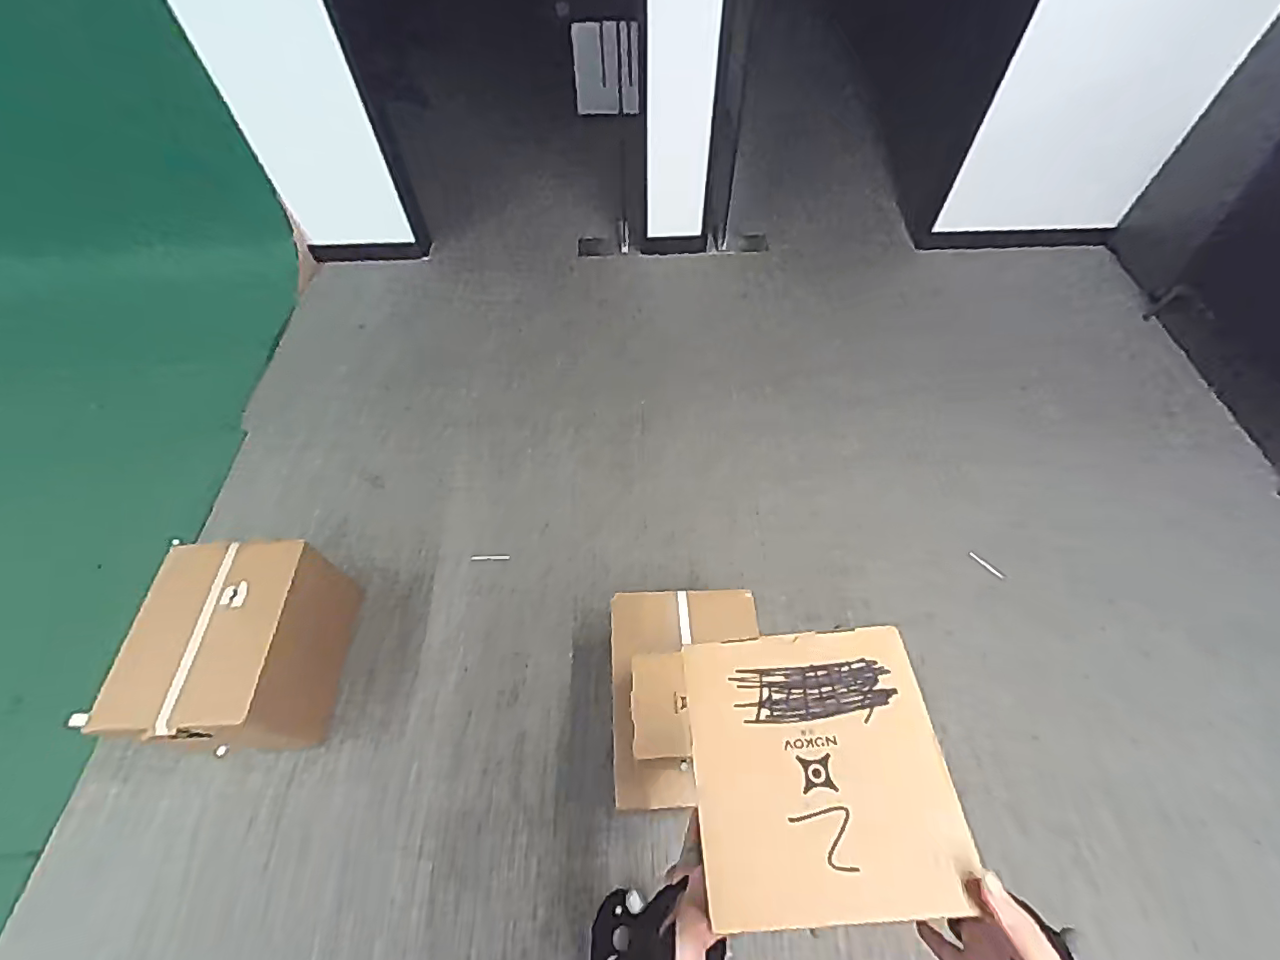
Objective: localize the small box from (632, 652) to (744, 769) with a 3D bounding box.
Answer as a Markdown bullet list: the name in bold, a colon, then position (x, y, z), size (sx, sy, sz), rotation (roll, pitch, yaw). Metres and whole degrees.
- **small box**: position (0.078, 0.412, 0.961), size (0.179, 0.176, 0.168), rotation (-4, 57, 1)

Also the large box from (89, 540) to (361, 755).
- **large box**: position (-0.916, 0.396, 1.270), size (0.320, 0.320, 0.408), rotation (-2, 56, -1)
